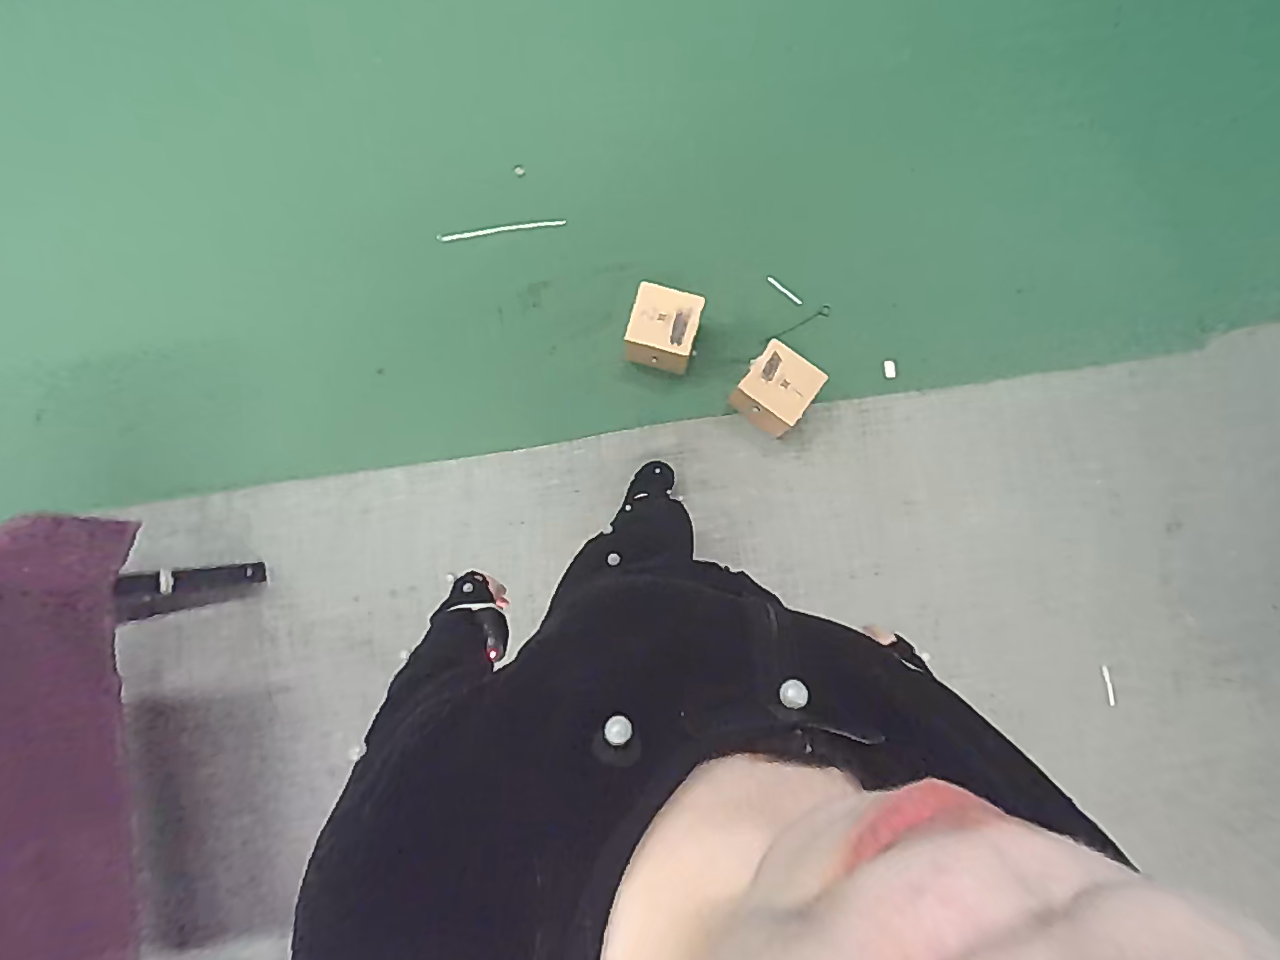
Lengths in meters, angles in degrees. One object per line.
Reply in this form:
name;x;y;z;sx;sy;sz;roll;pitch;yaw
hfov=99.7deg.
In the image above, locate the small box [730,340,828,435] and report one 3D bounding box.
small box;0.364;-0.240;1.456;0.179;0.176;0.168;37;86;3
